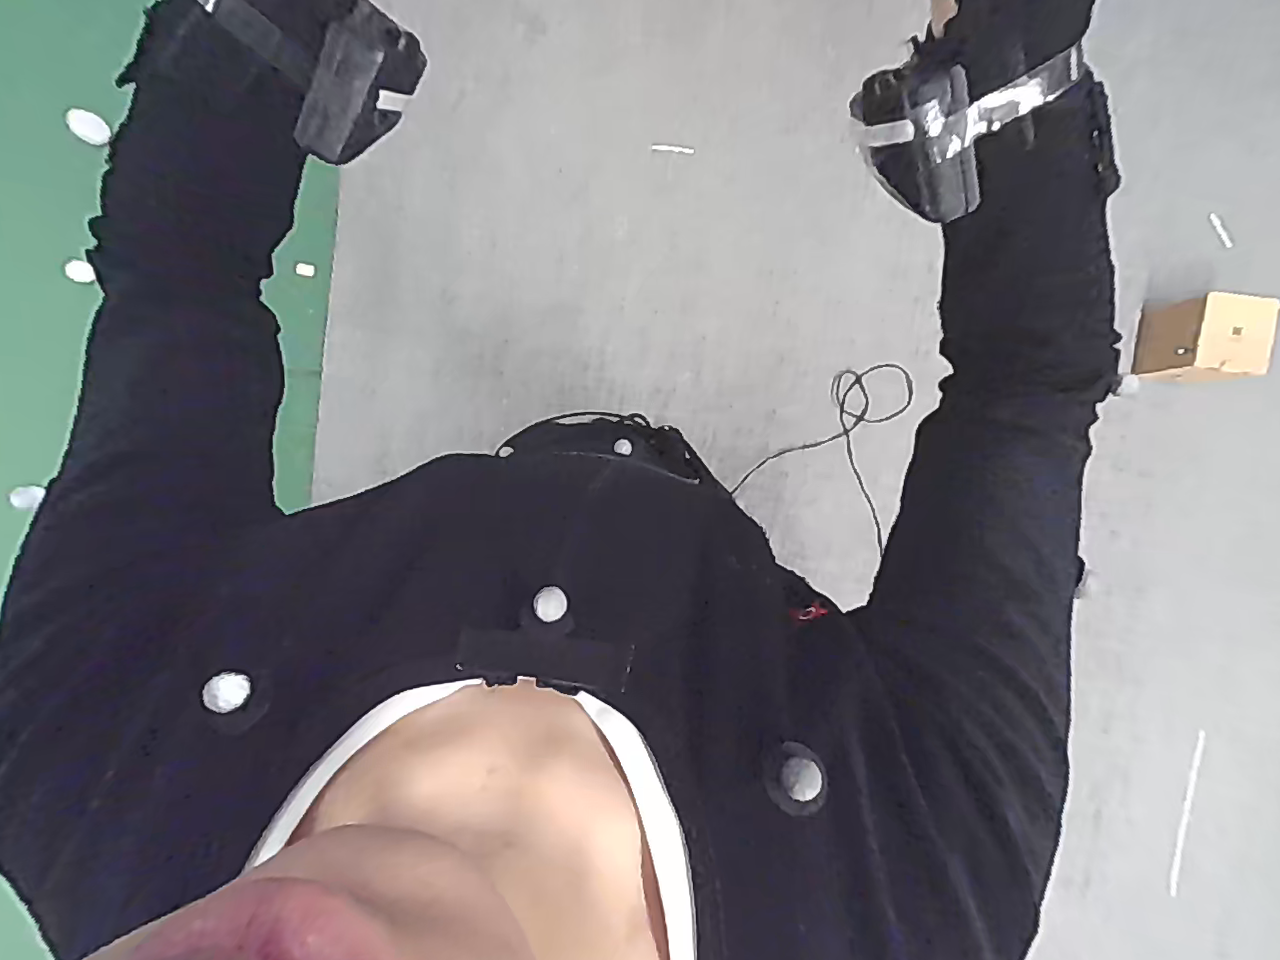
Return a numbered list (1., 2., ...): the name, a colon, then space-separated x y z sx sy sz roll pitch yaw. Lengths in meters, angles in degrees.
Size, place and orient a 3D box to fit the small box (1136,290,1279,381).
1. small box: 1.376 -0.347 1.323 0.168 0.176 0.179 7 94 2
